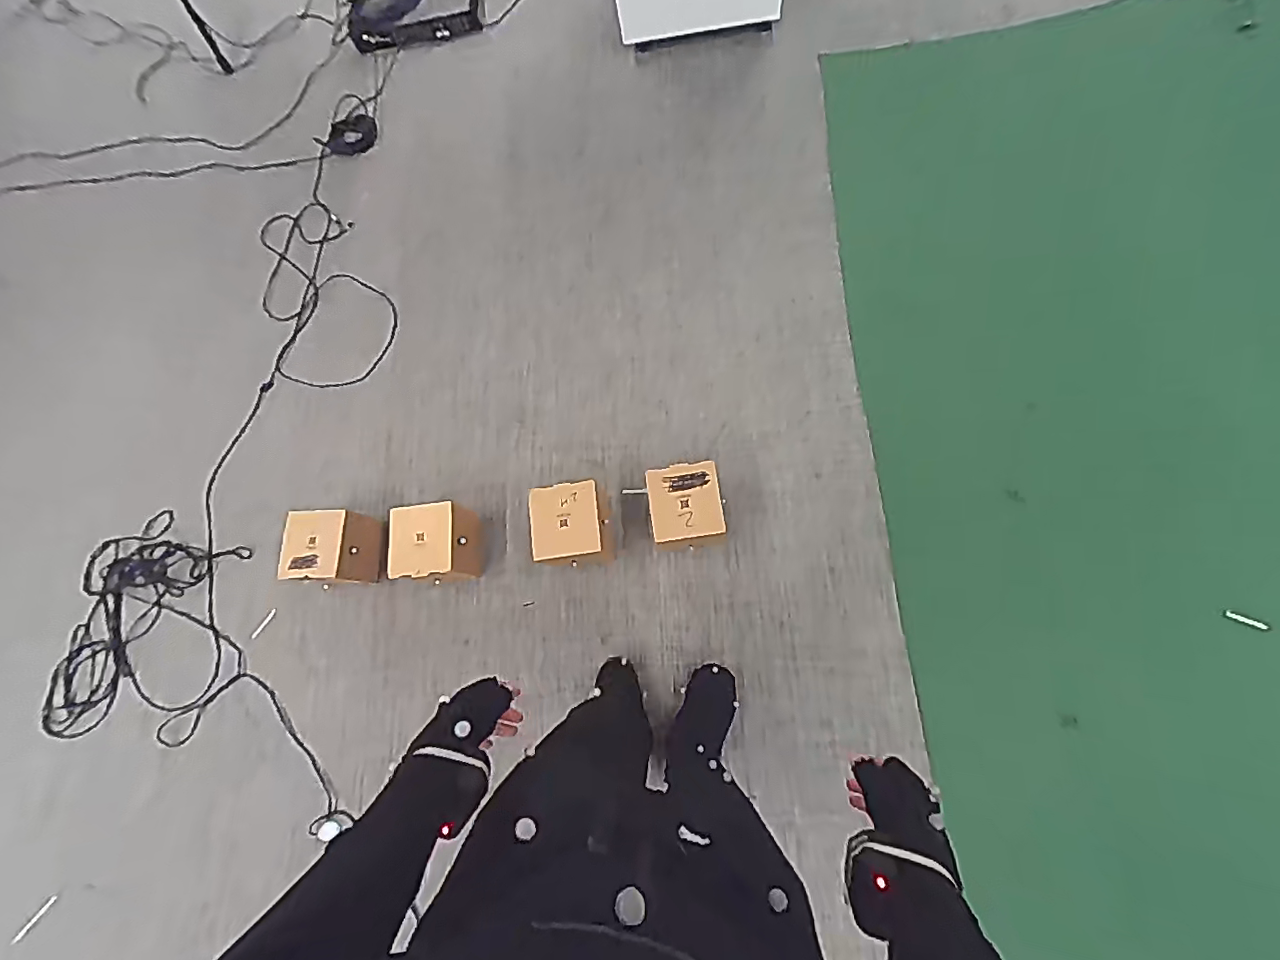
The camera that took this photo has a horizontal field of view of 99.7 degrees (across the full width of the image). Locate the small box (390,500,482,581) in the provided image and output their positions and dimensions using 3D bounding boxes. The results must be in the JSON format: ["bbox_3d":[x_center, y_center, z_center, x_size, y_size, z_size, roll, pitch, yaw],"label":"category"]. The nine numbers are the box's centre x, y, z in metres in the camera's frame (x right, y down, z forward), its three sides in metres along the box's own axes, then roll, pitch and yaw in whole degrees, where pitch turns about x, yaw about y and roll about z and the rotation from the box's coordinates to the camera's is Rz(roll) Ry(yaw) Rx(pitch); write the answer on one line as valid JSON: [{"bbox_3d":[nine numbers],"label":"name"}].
[{"bbox_3d":[-0.520,0.161,1.398,0.168,0.176,0.179,-7,75,7],"label":"small box"}]

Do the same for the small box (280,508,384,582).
[{"bbox_3d":[-0.808,0.178,1.437,0.168,0.176,0.179,-2,74,8],"label":"small box"}]

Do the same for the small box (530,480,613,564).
[{"bbox_3d":[-0.166,0.112,1.354,0.168,0.176,0.179,-9,74,6],"label":"small box"}]
